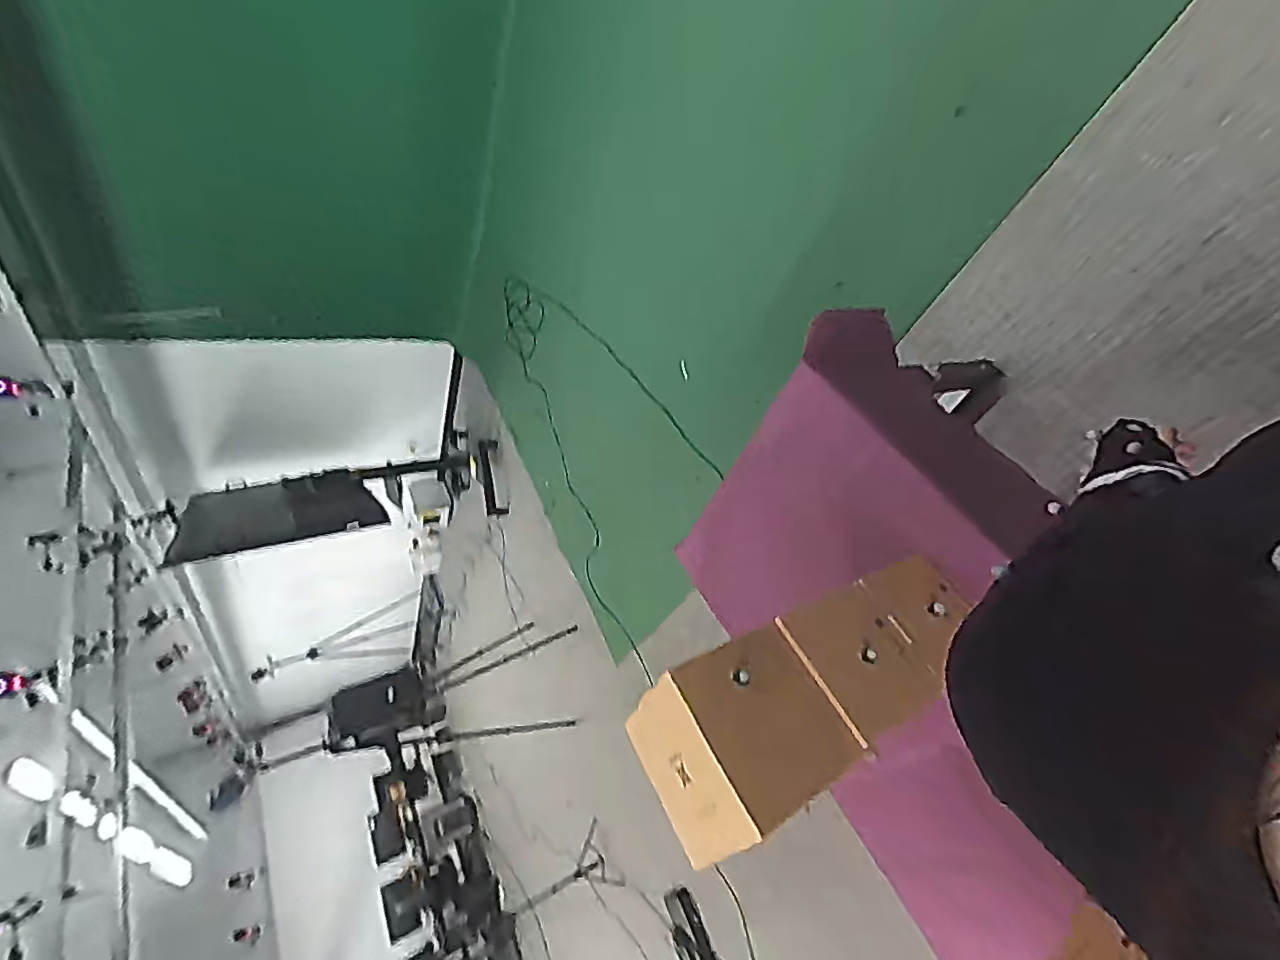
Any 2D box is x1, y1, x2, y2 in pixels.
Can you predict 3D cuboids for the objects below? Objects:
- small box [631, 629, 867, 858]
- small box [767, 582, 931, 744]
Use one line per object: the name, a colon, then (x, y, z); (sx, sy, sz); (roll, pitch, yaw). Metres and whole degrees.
small box: (0.121, 0.297, 0.639); (0.179, 0.176, 0.168); (56, 141, 28)
small box: (0.253, 0.263, 0.729); (0.168, 0.176, 0.179); (57, 141, 29)
